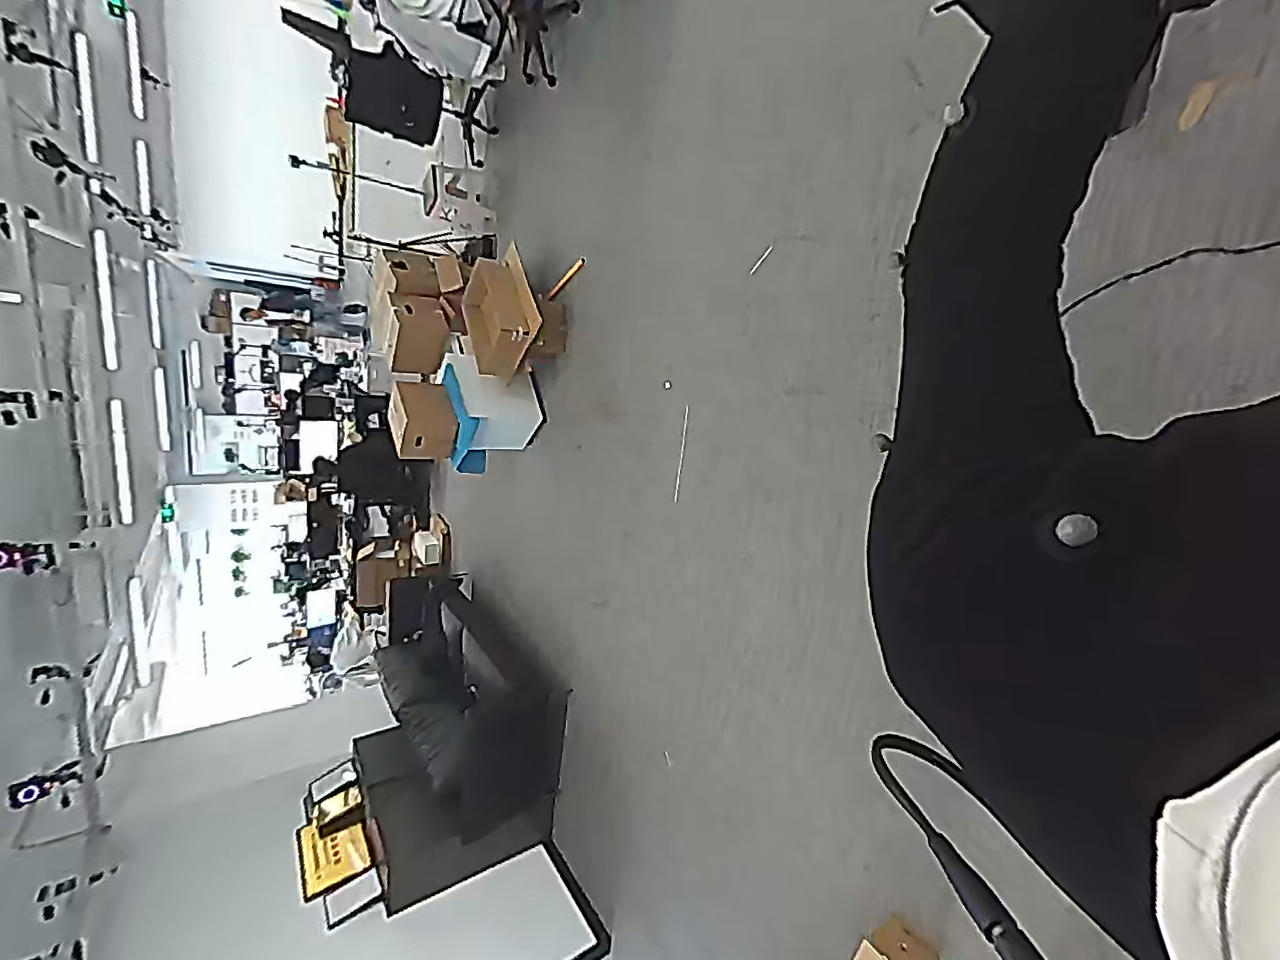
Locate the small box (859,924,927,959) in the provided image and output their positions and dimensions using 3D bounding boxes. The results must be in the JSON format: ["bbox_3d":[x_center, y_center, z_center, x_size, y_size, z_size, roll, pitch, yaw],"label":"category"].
[{"bbox_3d":[0.796,1.555,1.693,0.168,0.176,0.179,34,118,49],"label":"small box"}]
